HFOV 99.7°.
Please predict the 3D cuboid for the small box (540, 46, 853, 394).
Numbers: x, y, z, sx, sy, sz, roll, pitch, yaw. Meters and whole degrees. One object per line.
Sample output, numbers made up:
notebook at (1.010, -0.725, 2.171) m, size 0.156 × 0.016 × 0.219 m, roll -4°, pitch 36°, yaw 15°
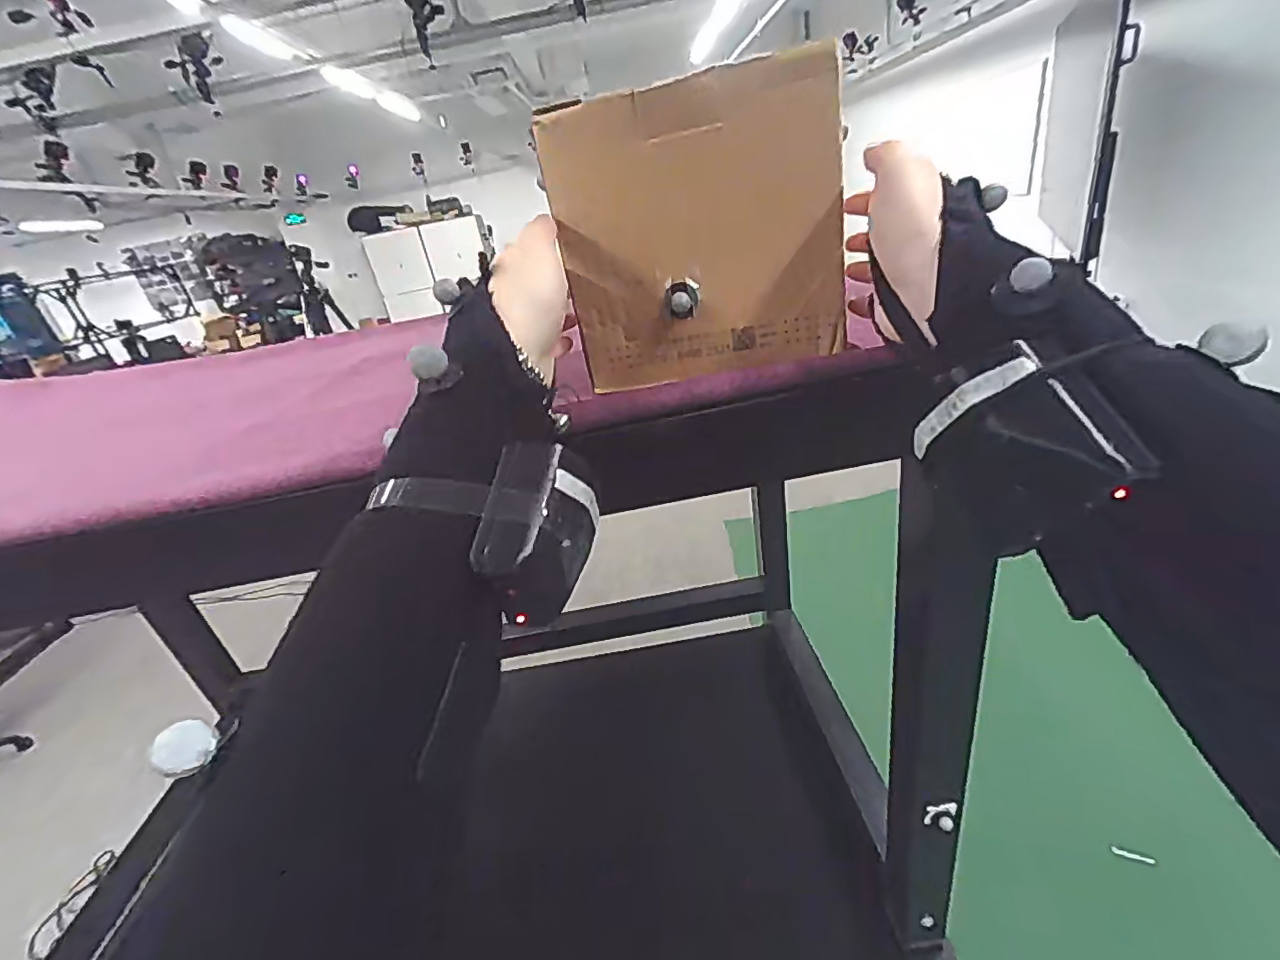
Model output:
small box at (0.047, -0.174, 0.388) m, size 0.168 × 0.176 × 0.179 m, roll -6°, pitch 29°, yaw 11°
